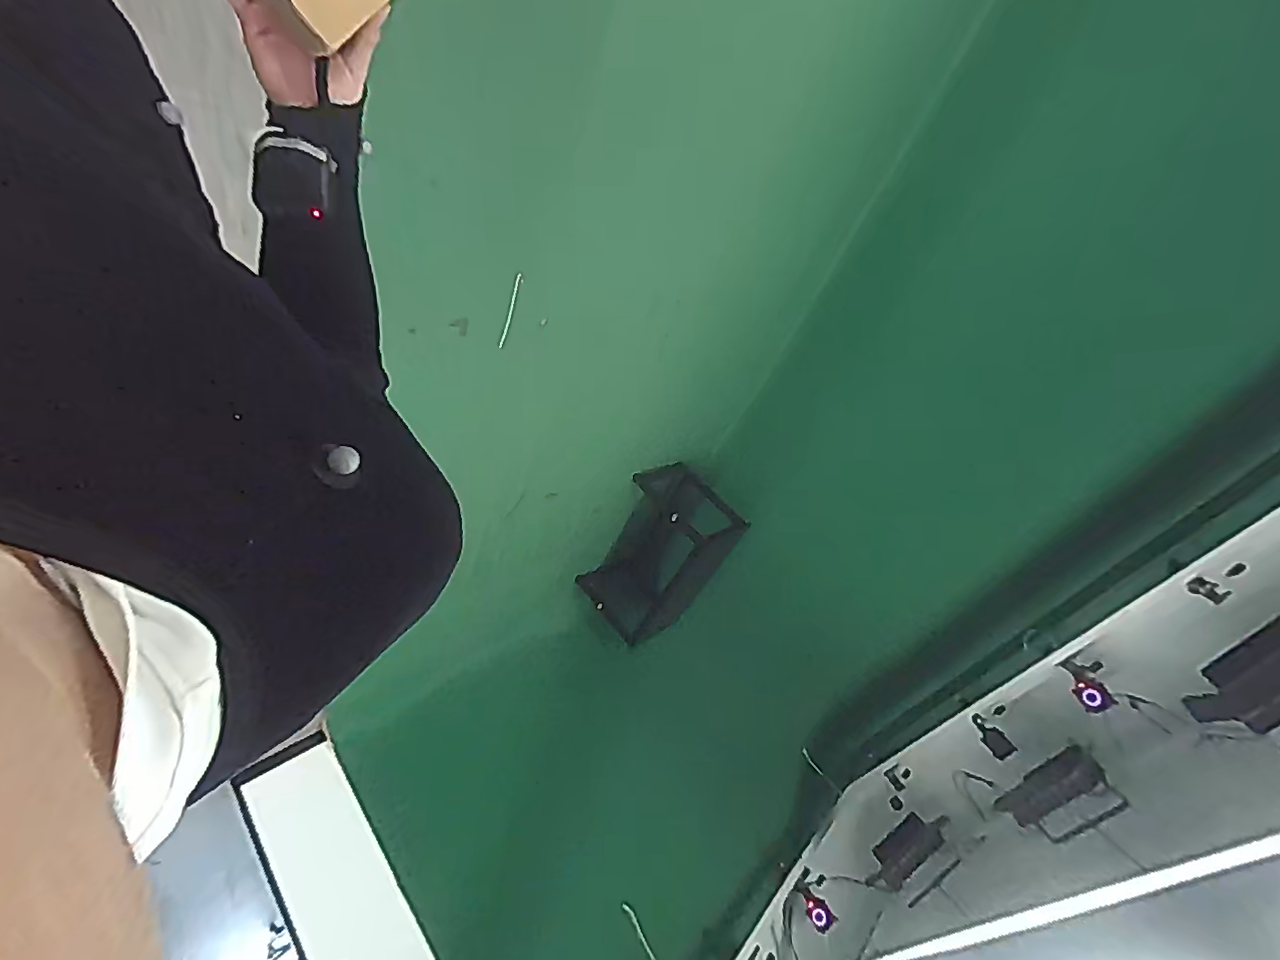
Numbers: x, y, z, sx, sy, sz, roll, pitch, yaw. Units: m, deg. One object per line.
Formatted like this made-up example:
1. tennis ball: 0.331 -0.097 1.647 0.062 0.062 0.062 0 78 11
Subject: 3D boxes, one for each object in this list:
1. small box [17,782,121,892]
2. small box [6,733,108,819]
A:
1. small box: -1.498 0.945 1.430 0.168 0.176 0.179 -17 142 -46
2. small box: -1.605 0.844 1.498 0.168 0.176 0.179 -18 143 -47
